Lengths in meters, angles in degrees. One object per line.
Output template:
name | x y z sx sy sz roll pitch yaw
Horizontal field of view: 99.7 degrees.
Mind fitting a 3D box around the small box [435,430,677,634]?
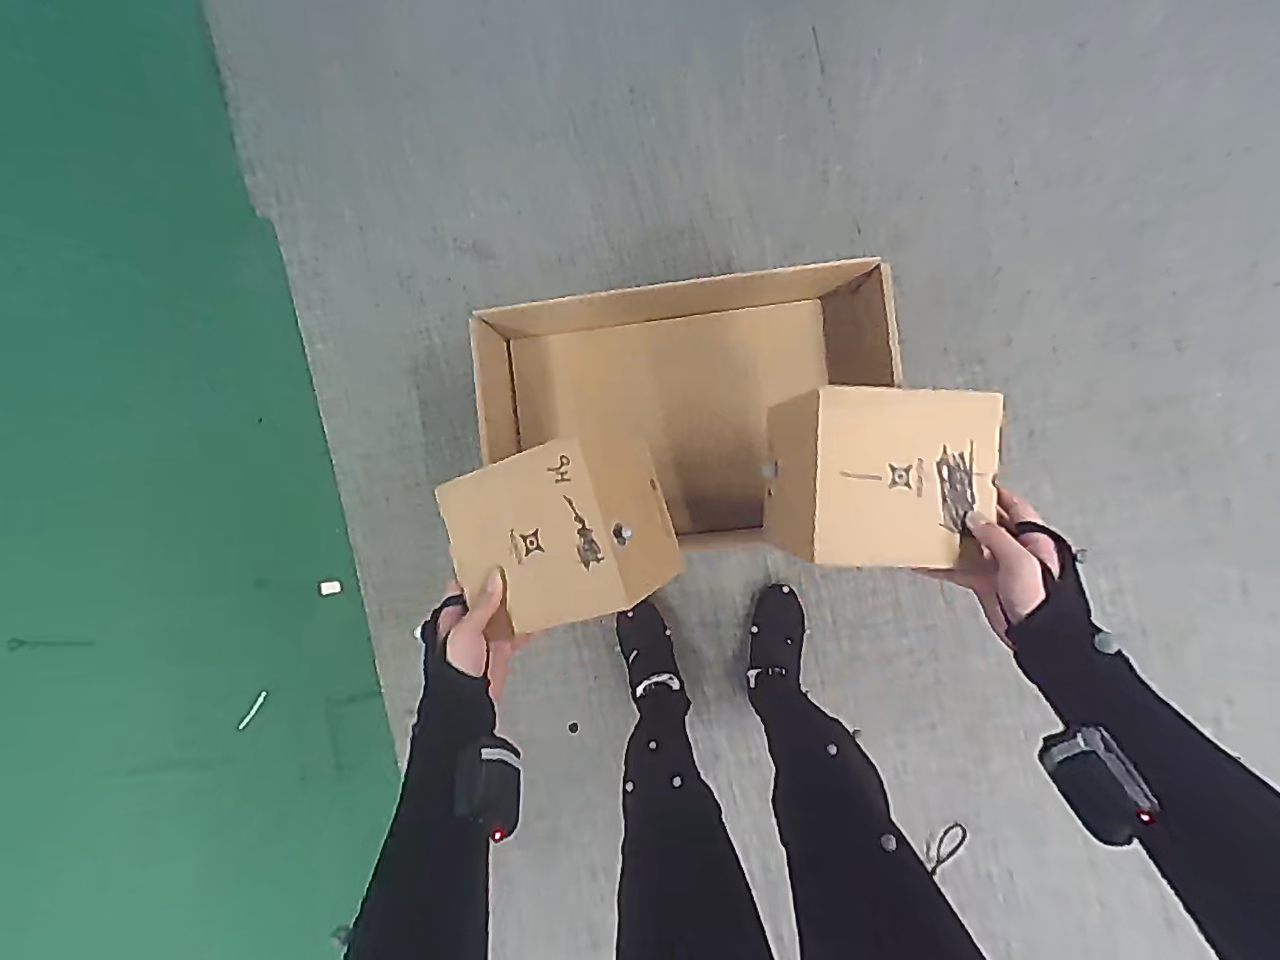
small box | -0.083 0.052 0.590 0.179 0.176 0.168 -18 86 22

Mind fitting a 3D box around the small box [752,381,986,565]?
small box | 0.230 -0.006 0.581 0.179 0.176 0.168 3 89 -2
